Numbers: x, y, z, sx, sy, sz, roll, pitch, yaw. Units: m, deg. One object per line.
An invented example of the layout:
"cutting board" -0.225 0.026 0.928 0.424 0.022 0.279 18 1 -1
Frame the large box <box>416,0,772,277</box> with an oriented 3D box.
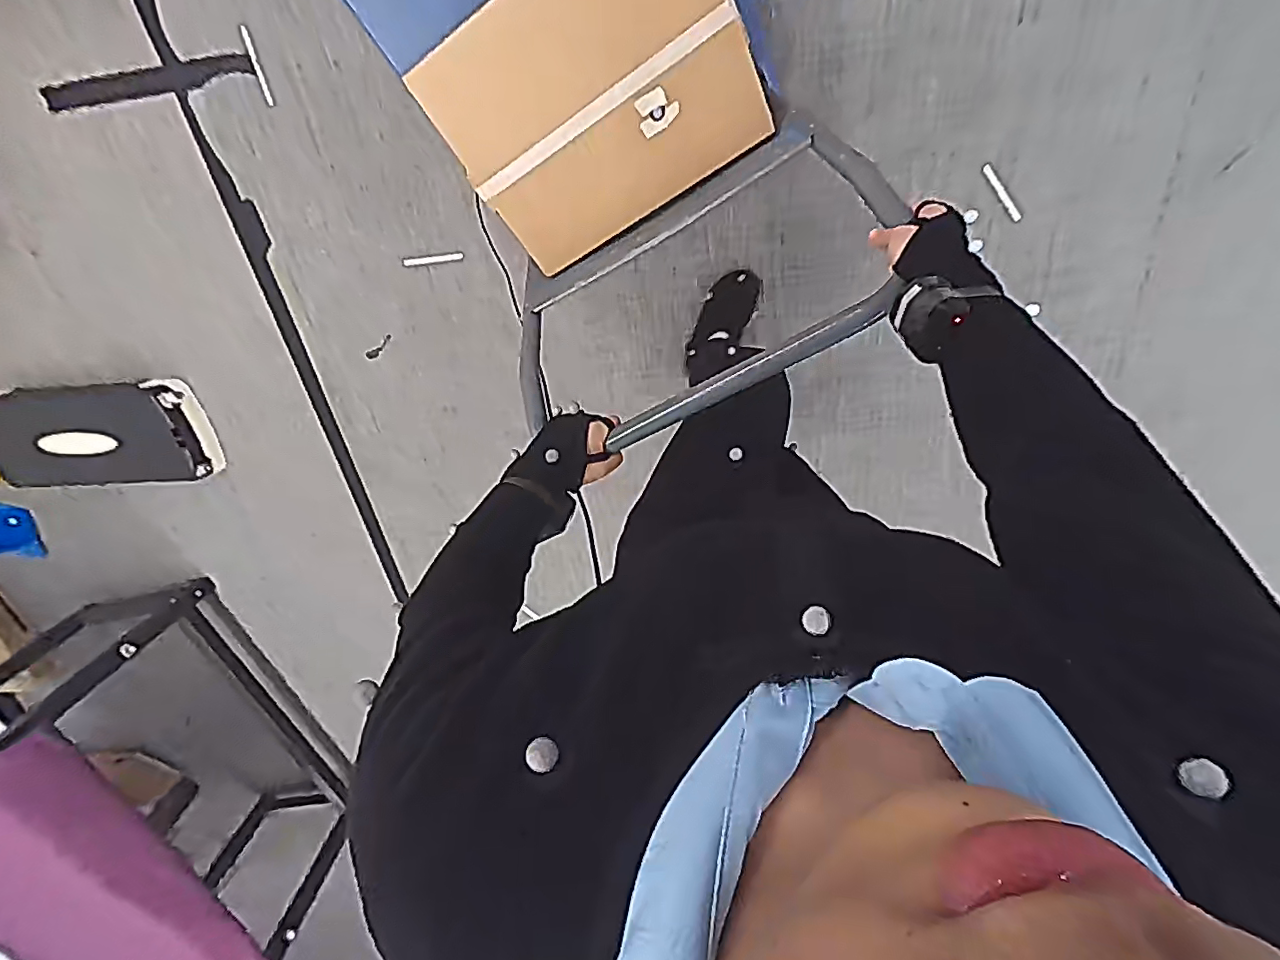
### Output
"large box" -0.067 -0.607 0.851 0.408 0.320 0.320 -27 131 17
